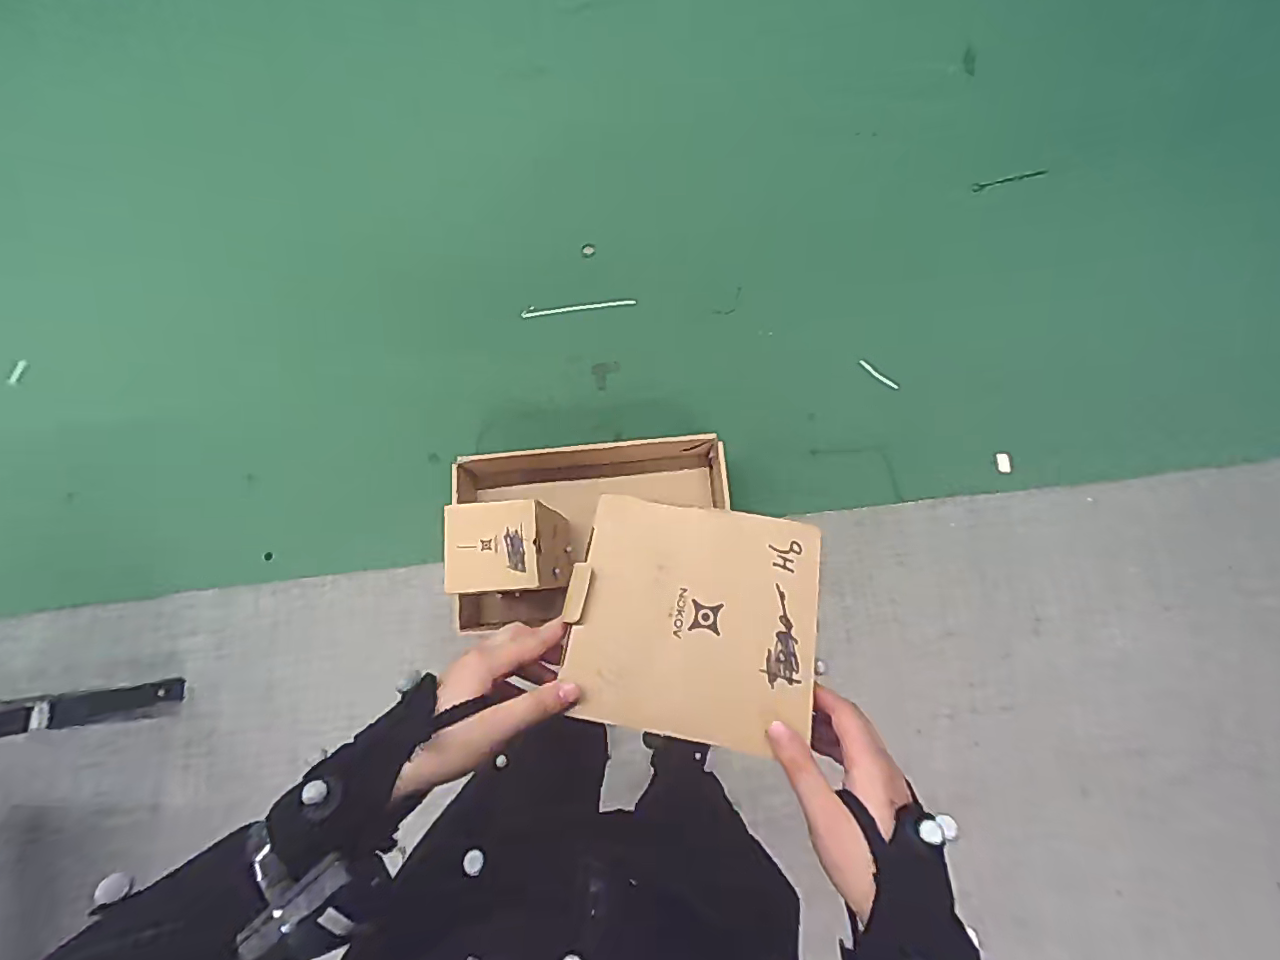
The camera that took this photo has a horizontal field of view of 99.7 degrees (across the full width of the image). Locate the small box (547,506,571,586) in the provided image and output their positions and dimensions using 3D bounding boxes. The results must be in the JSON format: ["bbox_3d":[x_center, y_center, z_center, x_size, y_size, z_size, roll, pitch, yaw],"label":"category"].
[{"bbox_3d":[-0.259,0.158,1.225,0.179,0.176,0.168,-5,79,0],"label":"small box"}]

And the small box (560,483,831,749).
[{"bbox_3d":[0.048,0.119,0.459,0.179,0.176,0.168,8,68,6],"label":"small box"}]

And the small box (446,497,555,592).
[{"bbox_3d":[-0.265,0.130,1.063,0.179,0.176,0.168,-4,78,2],"label":"small box"}]
